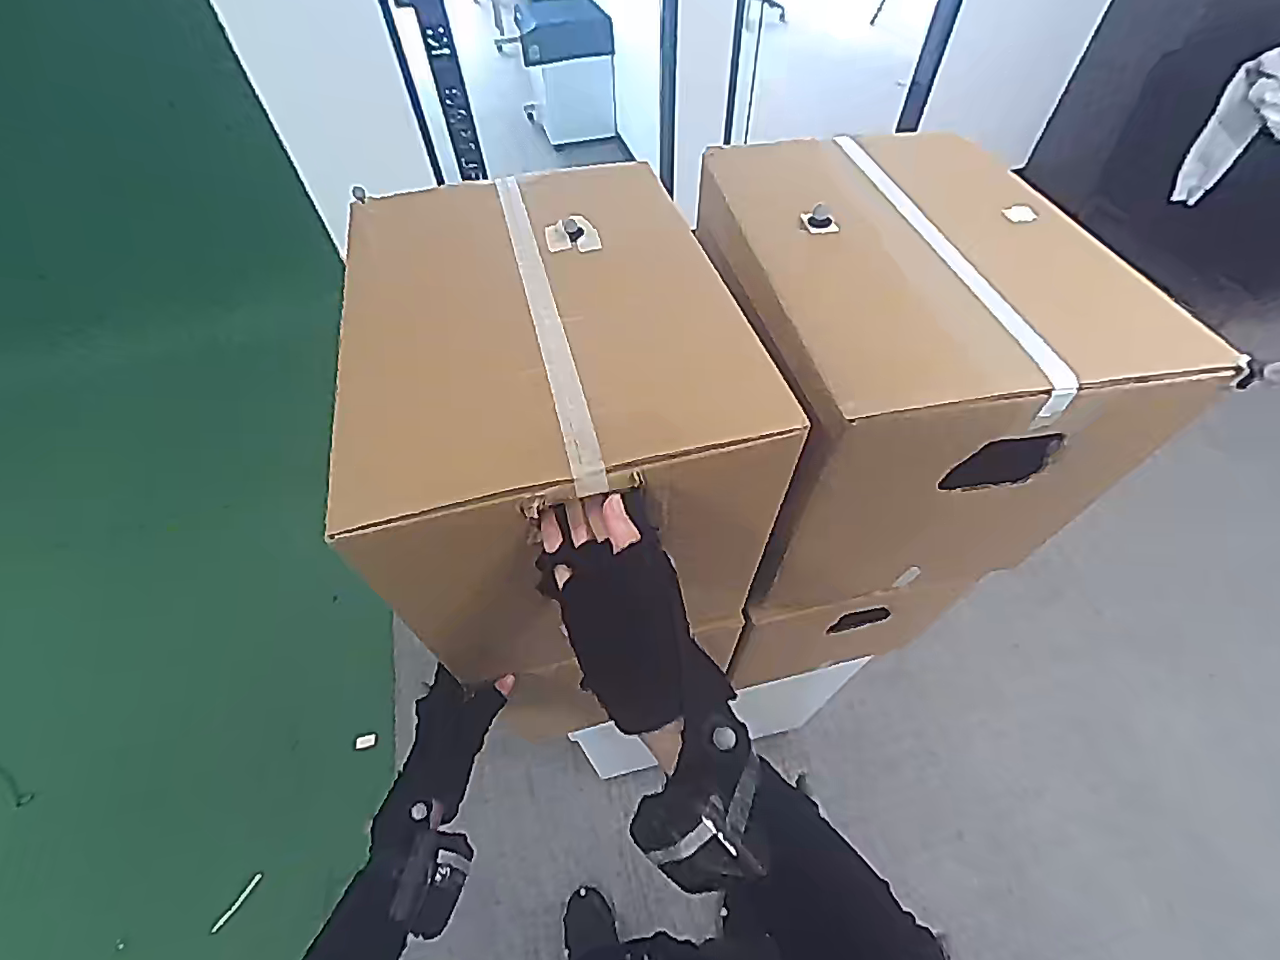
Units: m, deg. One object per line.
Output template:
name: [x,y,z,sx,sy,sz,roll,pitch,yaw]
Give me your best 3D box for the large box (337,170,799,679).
large box: [-0.085,-0.065,0.577,0.320,0.320,0.408,-13,54,-9]
